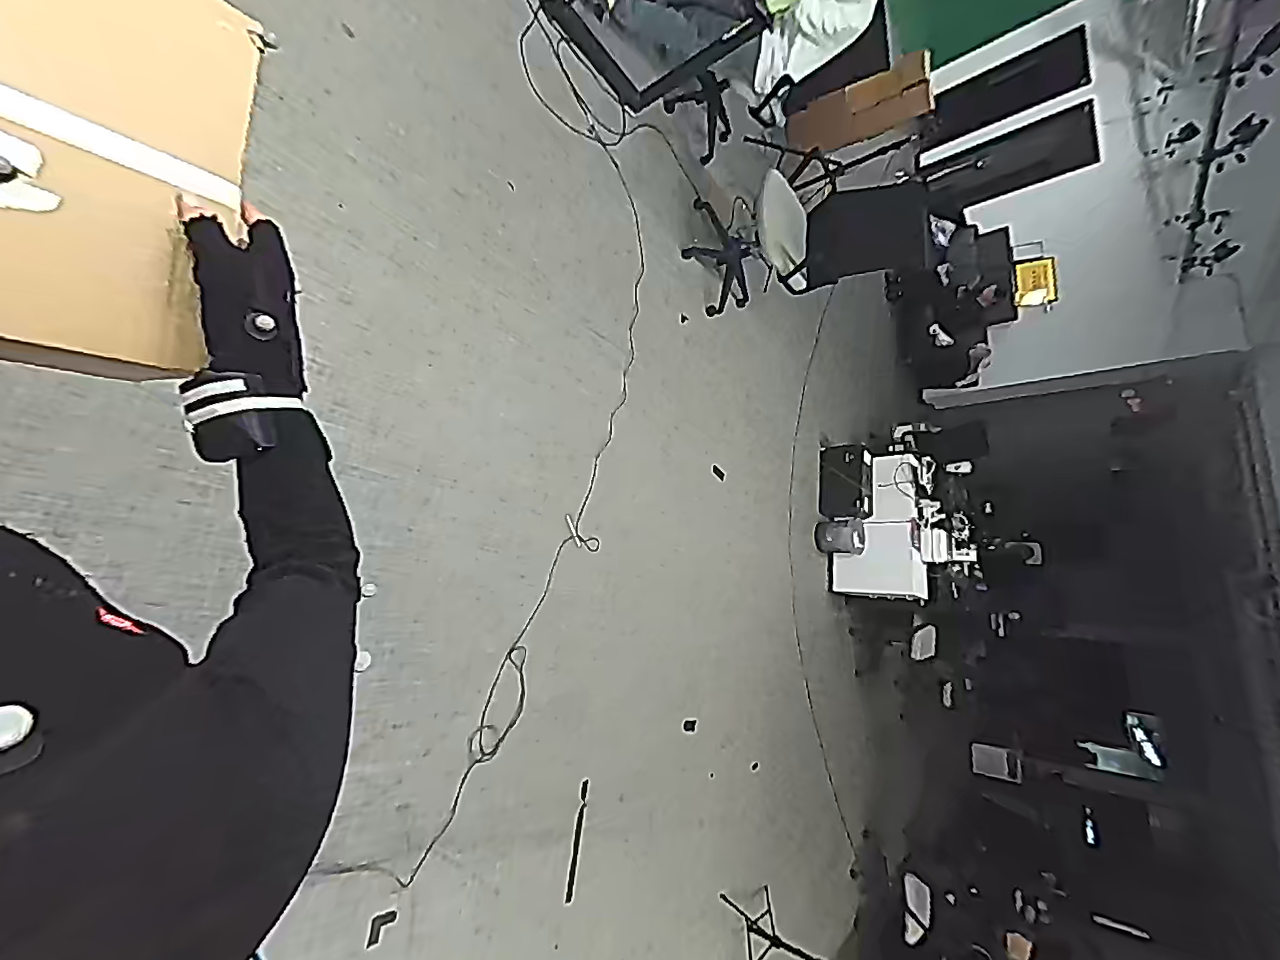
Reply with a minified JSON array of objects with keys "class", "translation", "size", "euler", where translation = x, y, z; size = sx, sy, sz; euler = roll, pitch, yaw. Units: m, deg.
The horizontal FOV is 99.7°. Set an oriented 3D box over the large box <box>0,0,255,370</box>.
[{"class":"large box","translation":[-0.595,-0.280,0.409],"size":[0.408,0.320,0.320],"euler":[7,91,-54]}]
